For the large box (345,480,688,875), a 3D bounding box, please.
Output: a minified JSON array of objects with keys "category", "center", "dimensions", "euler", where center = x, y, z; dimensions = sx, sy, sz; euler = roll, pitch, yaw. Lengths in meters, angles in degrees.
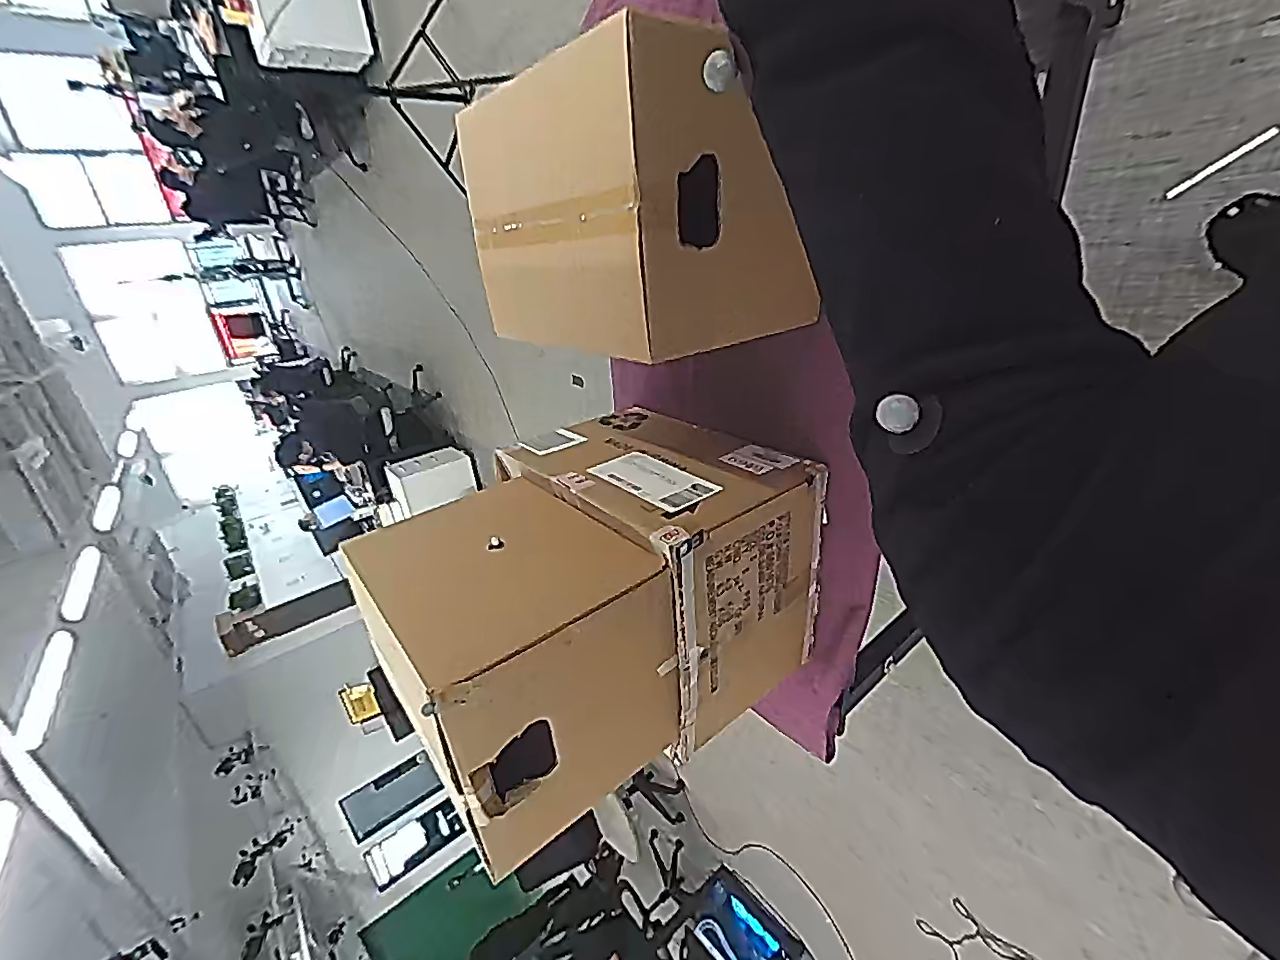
[{"category":"large box","center":[-0.183,0.229,0.796],"dimensions":[0.408,0.320,0.320],"euler":[23,128,47]}]
